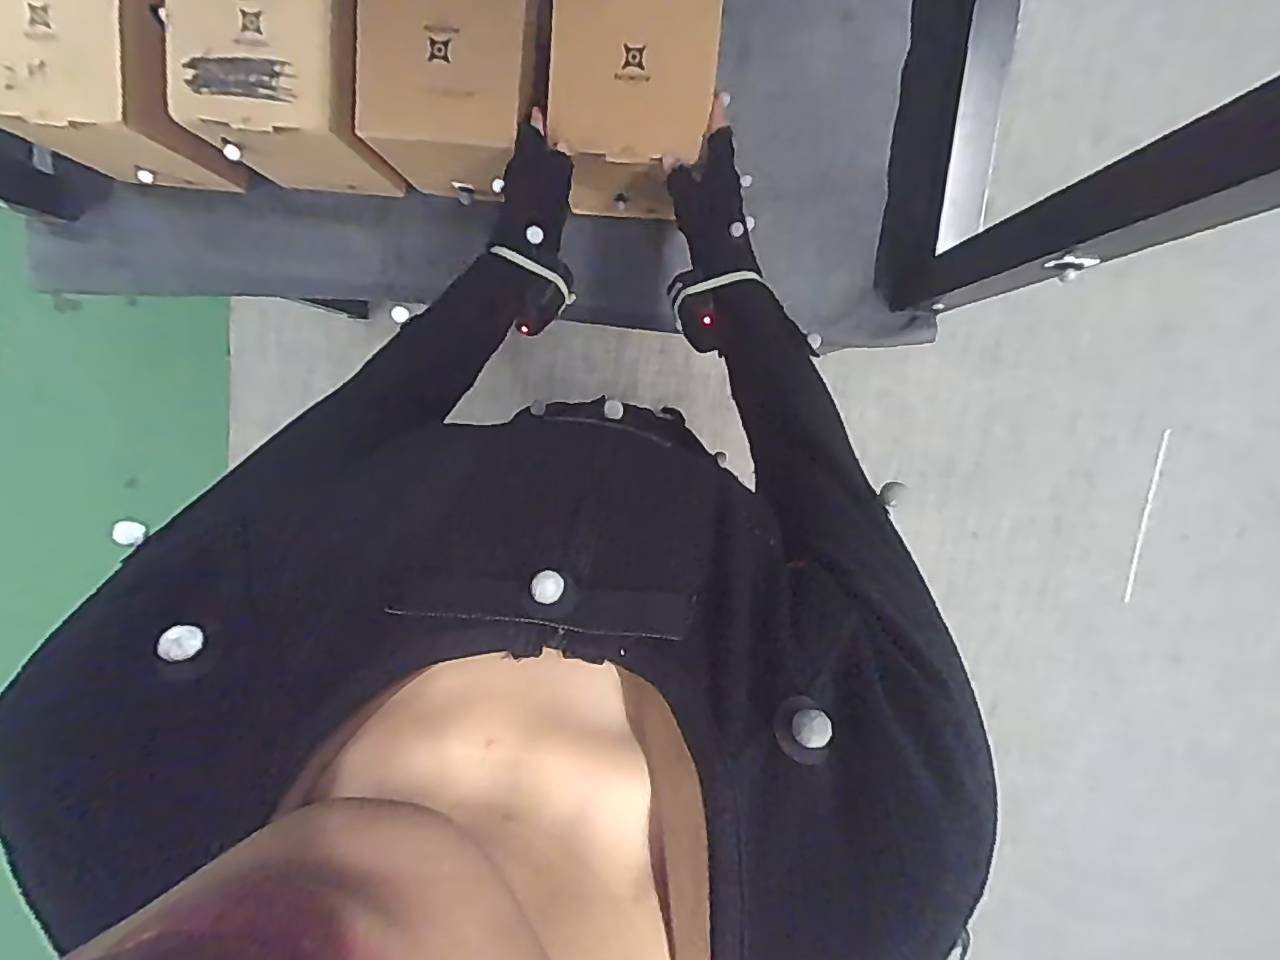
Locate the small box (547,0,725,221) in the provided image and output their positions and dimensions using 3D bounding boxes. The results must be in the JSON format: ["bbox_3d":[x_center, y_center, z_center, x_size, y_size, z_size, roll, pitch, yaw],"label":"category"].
[{"bbox_3d":[-0.003,-0.417,0.609,0.168,0.176,0.179,5,98,1],"label":"small box"}]

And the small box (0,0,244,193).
[{"bbox_3d":[-0.585,-0.455,0.609,0.168,0.176,0.179,5,98,0],"label":"small box"}]
